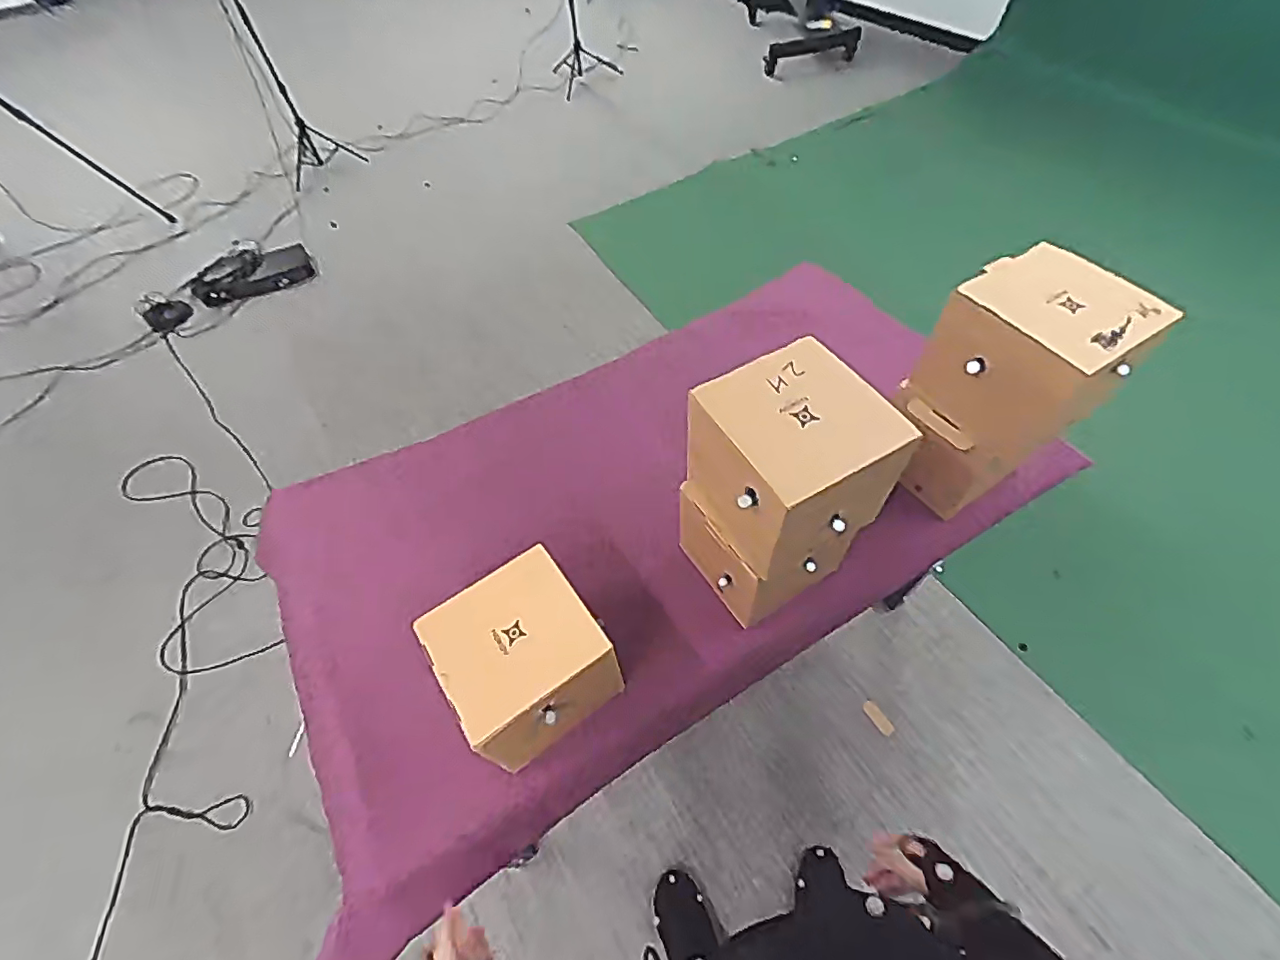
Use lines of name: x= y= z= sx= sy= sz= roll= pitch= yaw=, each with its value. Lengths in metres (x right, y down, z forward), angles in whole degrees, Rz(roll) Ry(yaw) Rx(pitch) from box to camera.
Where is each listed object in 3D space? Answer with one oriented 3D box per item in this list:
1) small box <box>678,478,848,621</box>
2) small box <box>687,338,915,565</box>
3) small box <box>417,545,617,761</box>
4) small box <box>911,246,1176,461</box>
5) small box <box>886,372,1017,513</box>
small box: x=0.171 y=0.069 z=0.760 sx=0.179 sy=0.176 sz=0.168 roll=-28 pitch=58 yaw=-14
small box: x=0.168 y=-0.023 z=0.624 sx=0.168 sy=0.176 sz=0.179 roll=-26 pitch=57 yaw=-13
small box: x=-0.141 y=0.220 z=0.680 sx=0.179 sy=0.176 sz=0.168 roll=-32 pitch=59 yaw=-16
small box: x=0.487 y=-0.158 z=0.688 sx=0.168 sy=0.176 sz=0.179 roll=-29 pitch=58 yaw=-13
small box: x=0.490 y=-0.079 z=0.833 sx=0.179 sy=0.176 sz=0.168 roll=-30 pitch=59 yaw=-15
